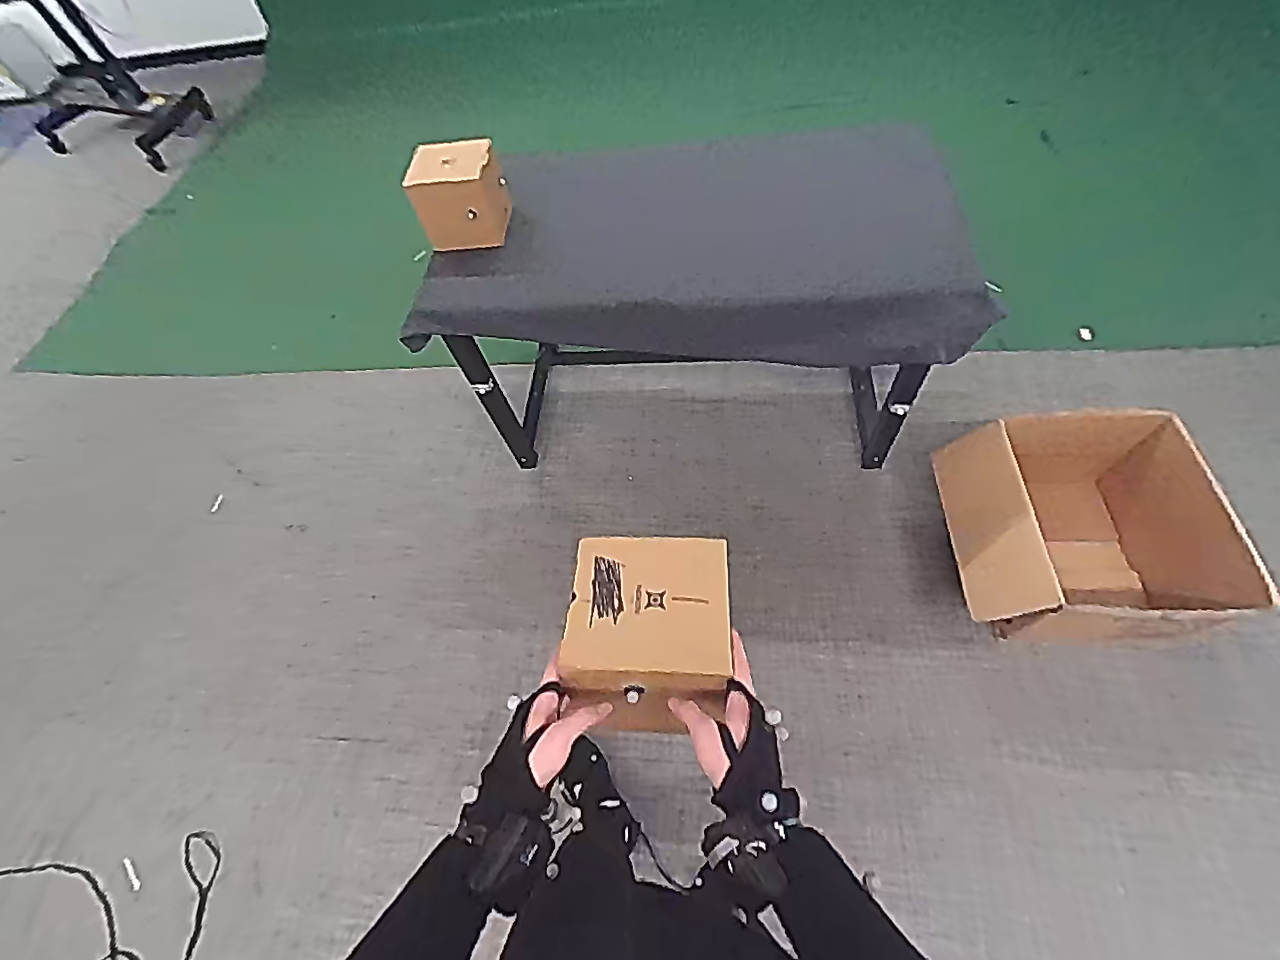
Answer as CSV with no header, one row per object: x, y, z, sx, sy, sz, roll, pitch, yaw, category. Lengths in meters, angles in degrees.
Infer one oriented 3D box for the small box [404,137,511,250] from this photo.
-0.417,-0.670,1.273,0.179,0.176,0.168,-3,58,6,small box

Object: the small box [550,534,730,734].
0.013,0.182,0.635,0.179,0.176,0.168,3,48,8,small box
